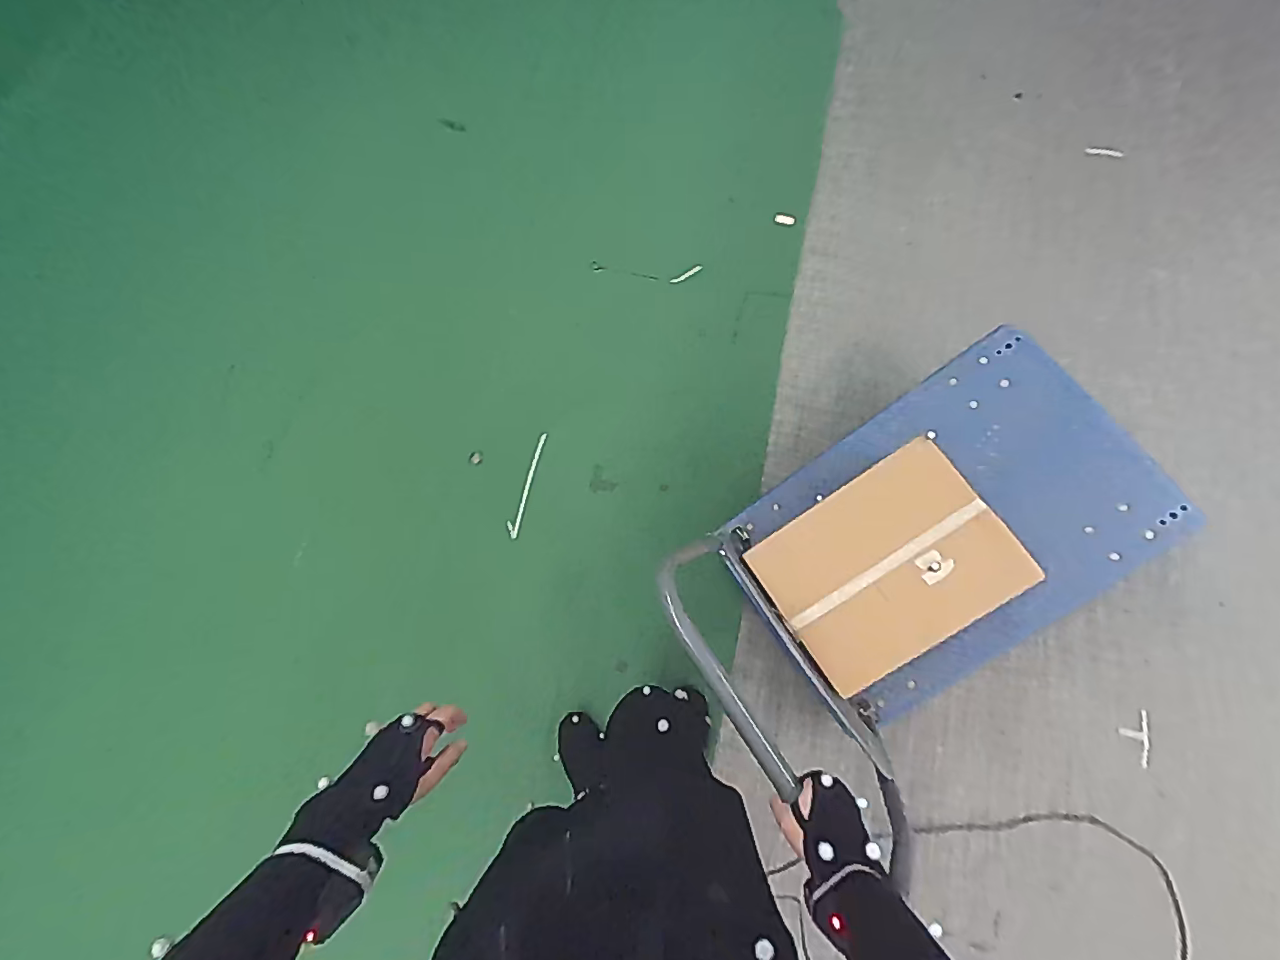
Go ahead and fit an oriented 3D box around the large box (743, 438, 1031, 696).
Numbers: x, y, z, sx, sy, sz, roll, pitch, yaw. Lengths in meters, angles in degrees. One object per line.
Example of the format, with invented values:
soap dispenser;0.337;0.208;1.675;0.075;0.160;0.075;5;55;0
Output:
large box;0.471;0.179;1.132;0.408;0.320;0.320;-35;76;6
